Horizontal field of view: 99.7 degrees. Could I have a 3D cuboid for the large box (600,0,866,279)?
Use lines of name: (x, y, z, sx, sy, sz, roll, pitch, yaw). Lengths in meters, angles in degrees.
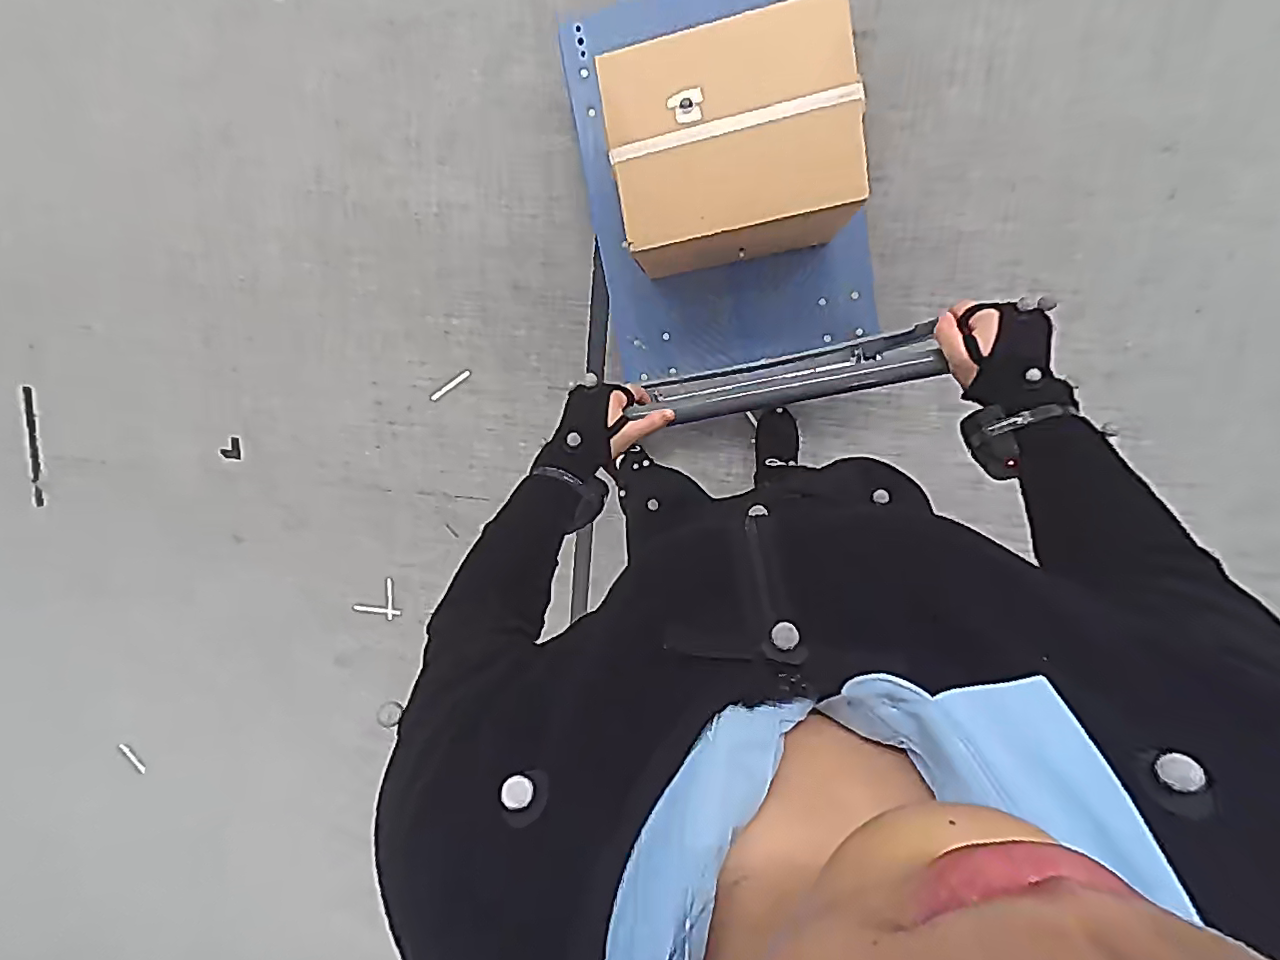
large box: (0.175, -0.608, 1.044, 0.408, 0.320, 0.320, -9, 99, 11)
